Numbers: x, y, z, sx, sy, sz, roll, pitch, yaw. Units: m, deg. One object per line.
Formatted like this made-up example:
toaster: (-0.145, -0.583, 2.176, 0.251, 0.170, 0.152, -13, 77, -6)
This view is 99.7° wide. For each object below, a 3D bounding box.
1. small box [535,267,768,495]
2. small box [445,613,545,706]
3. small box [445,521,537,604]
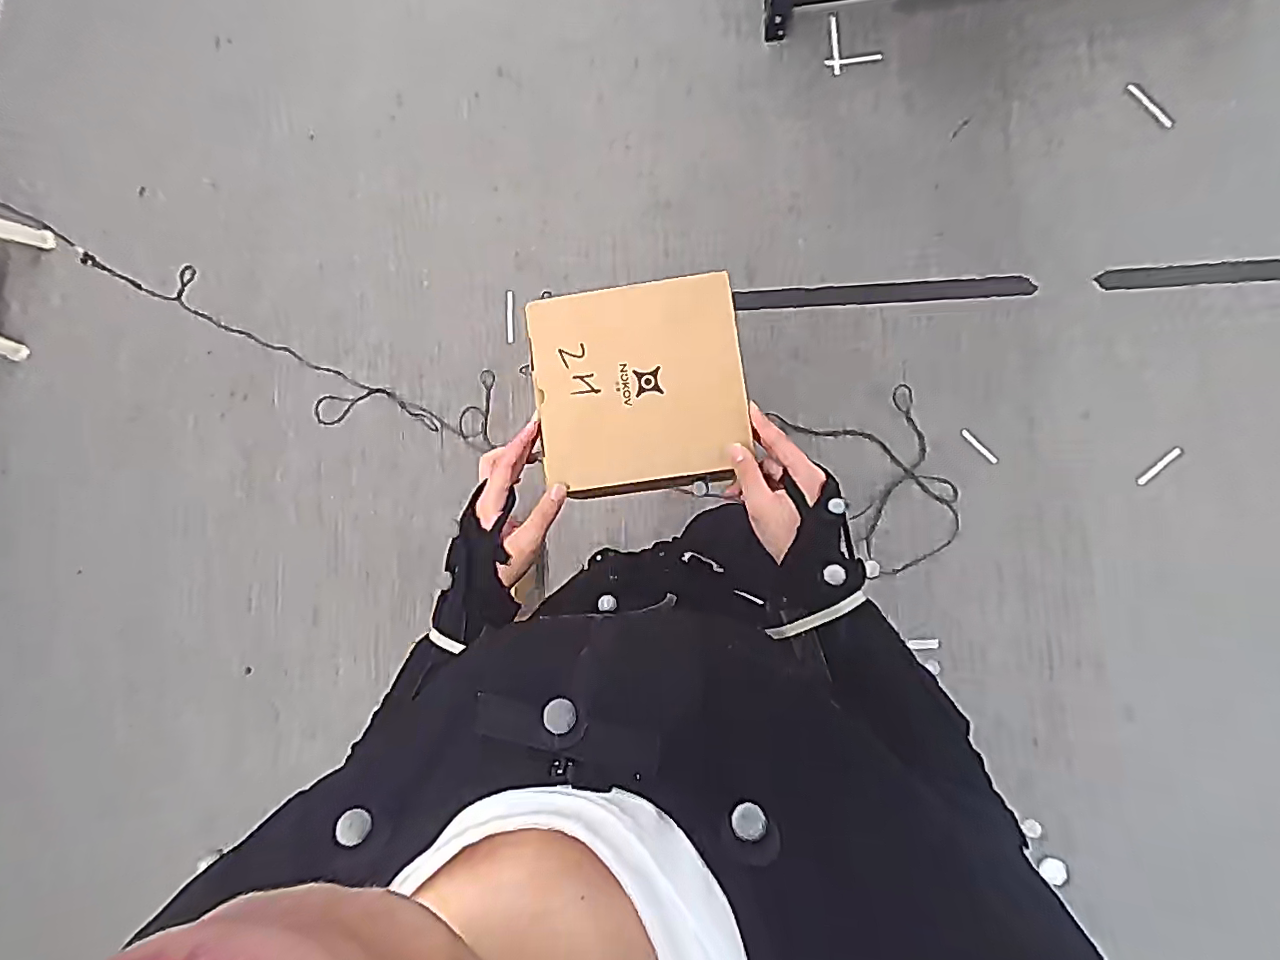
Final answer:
small box: (0.011, -0.078, 0.516, 0.179, 0.176, 0.168, -7, 85, 3)
small box: (-0.345, 0.428, 1.308, 0.179, 0.176, 0.168, -9, 87, 5)
small box: (-0.355, 0.194, 1.316, 0.168, 0.176, 0.179, 3, 88, 6)
